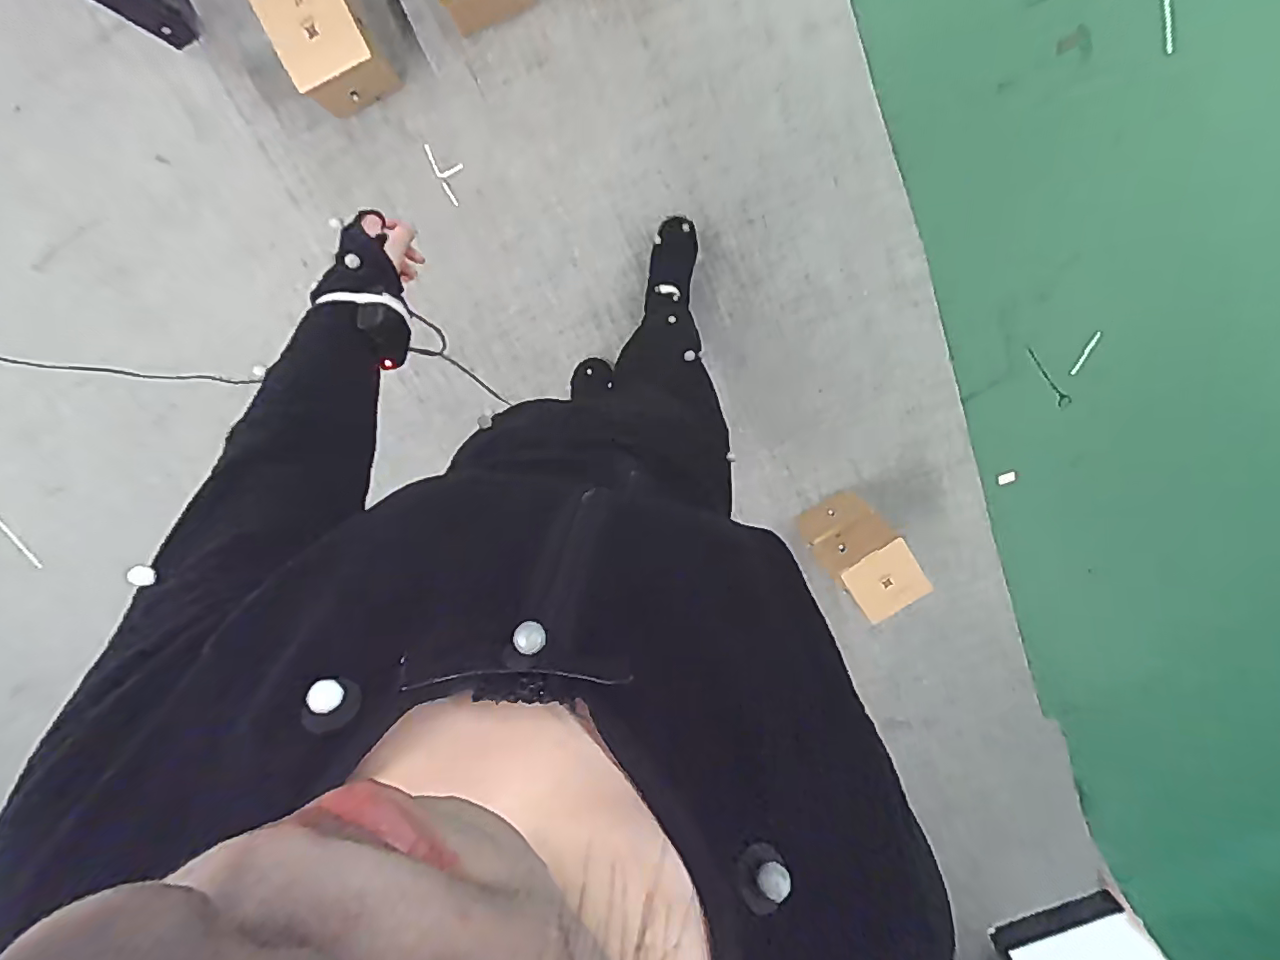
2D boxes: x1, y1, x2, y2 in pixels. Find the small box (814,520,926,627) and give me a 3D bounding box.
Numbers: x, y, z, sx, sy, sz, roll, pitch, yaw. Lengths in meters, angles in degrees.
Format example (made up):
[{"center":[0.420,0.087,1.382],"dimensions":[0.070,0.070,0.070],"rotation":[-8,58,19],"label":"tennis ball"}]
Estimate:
[{"center":[0.561,0.220,1.342],"dimensions":[0.168,0.176,0.179],"rotation":[-33,107,9],"label":"small box"}]
